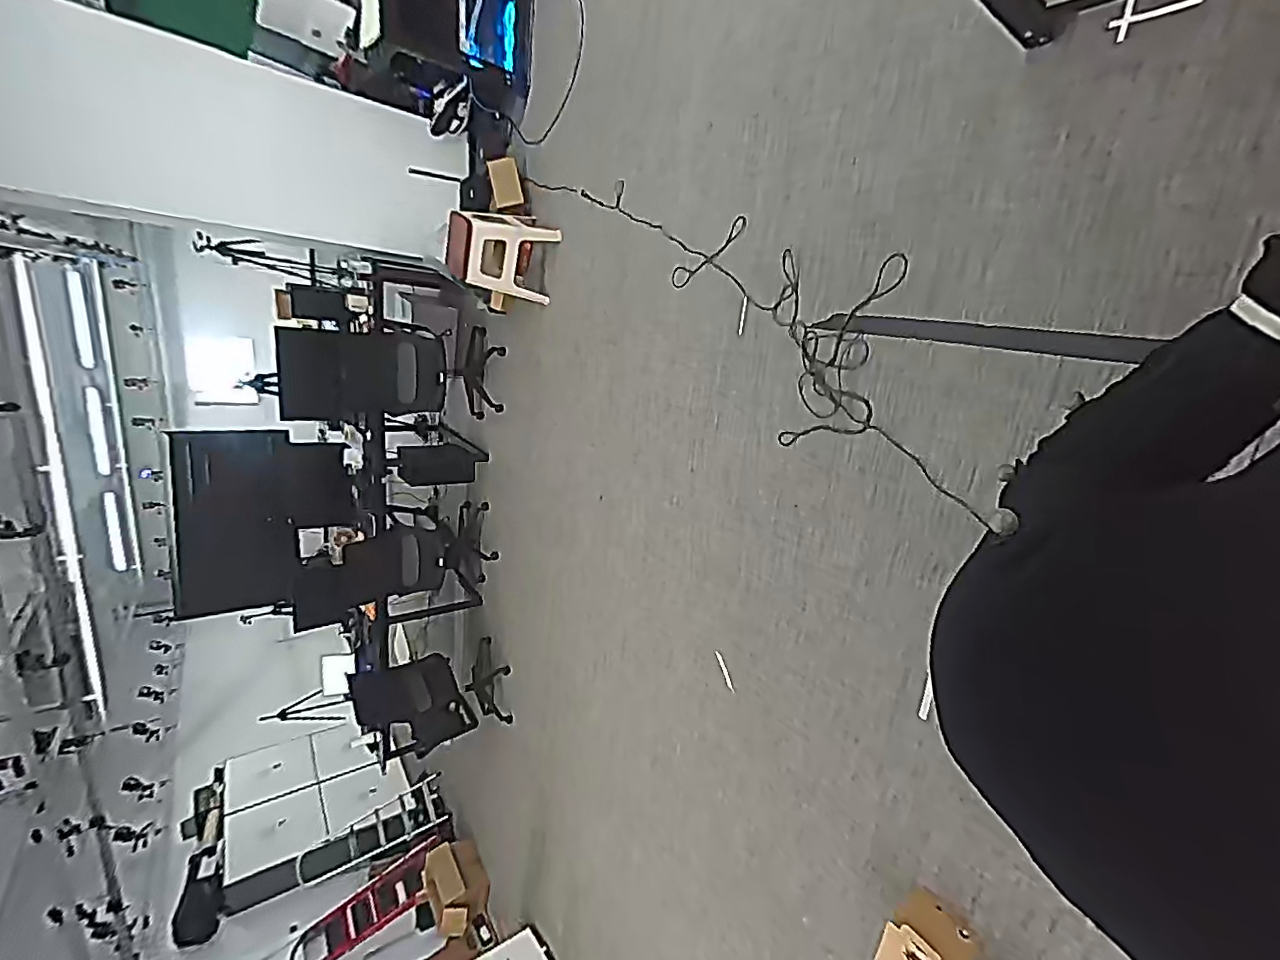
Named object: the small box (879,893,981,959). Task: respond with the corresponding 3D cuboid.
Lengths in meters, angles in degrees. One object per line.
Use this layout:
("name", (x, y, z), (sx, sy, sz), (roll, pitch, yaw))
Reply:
("small box", (0.758, 1.244, 1.413), (0.168, 0.176, 0.179), (28, 117, 50))
